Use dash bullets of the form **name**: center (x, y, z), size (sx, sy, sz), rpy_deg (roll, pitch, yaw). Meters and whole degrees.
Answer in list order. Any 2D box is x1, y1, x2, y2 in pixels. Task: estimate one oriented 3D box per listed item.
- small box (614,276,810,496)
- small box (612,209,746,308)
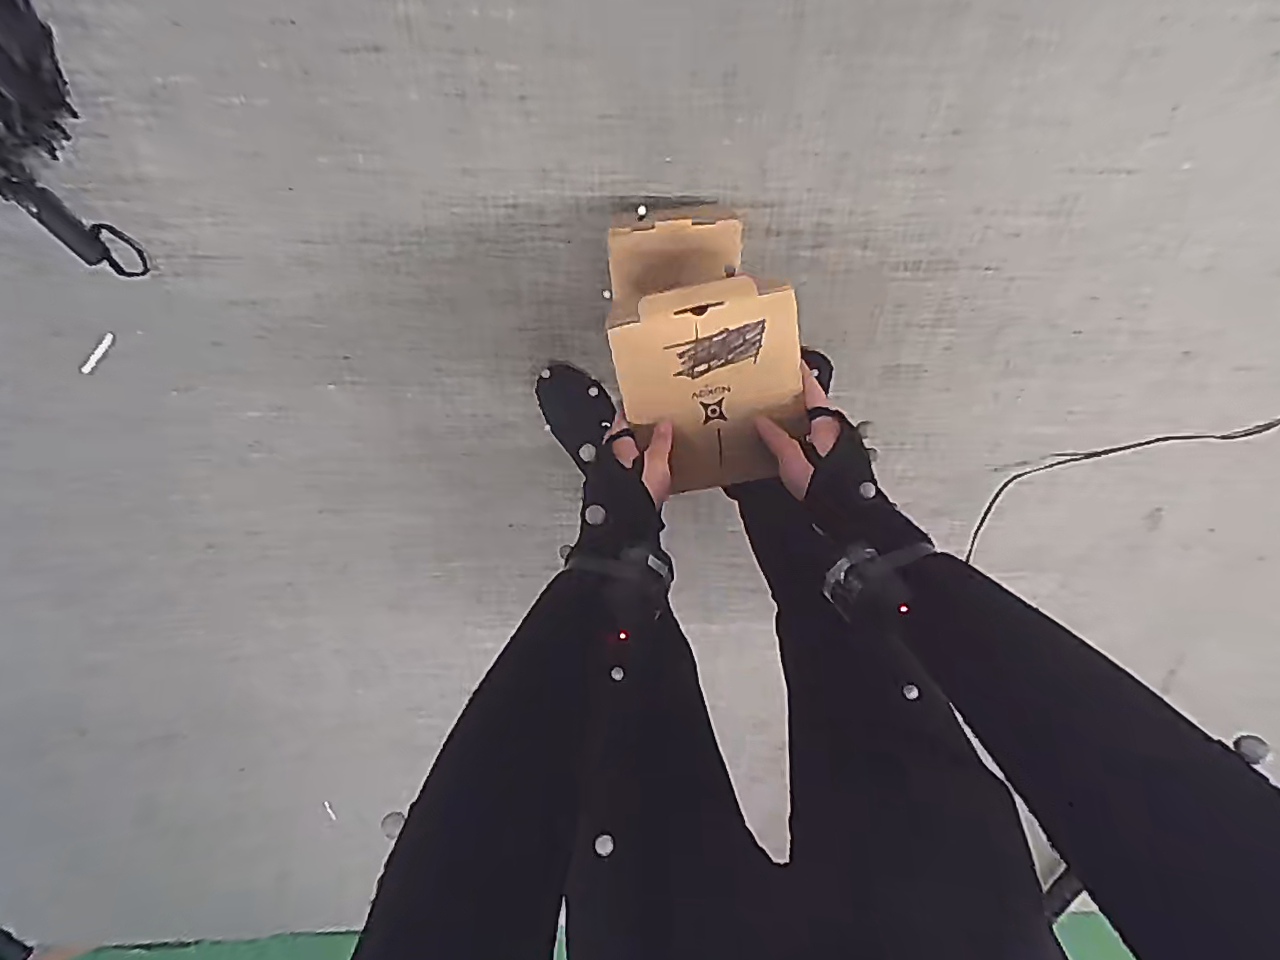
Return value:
- **small box**: center (0.069, -0.108, 0.568), size (0.168, 0.176, 0.179), rpy_deg (-10, 116, 5)
- **small box**: center (0.051, -0.275, 0.760), size (0.168, 0.176, 0.179), rpy_deg (-4, 124, 3)
